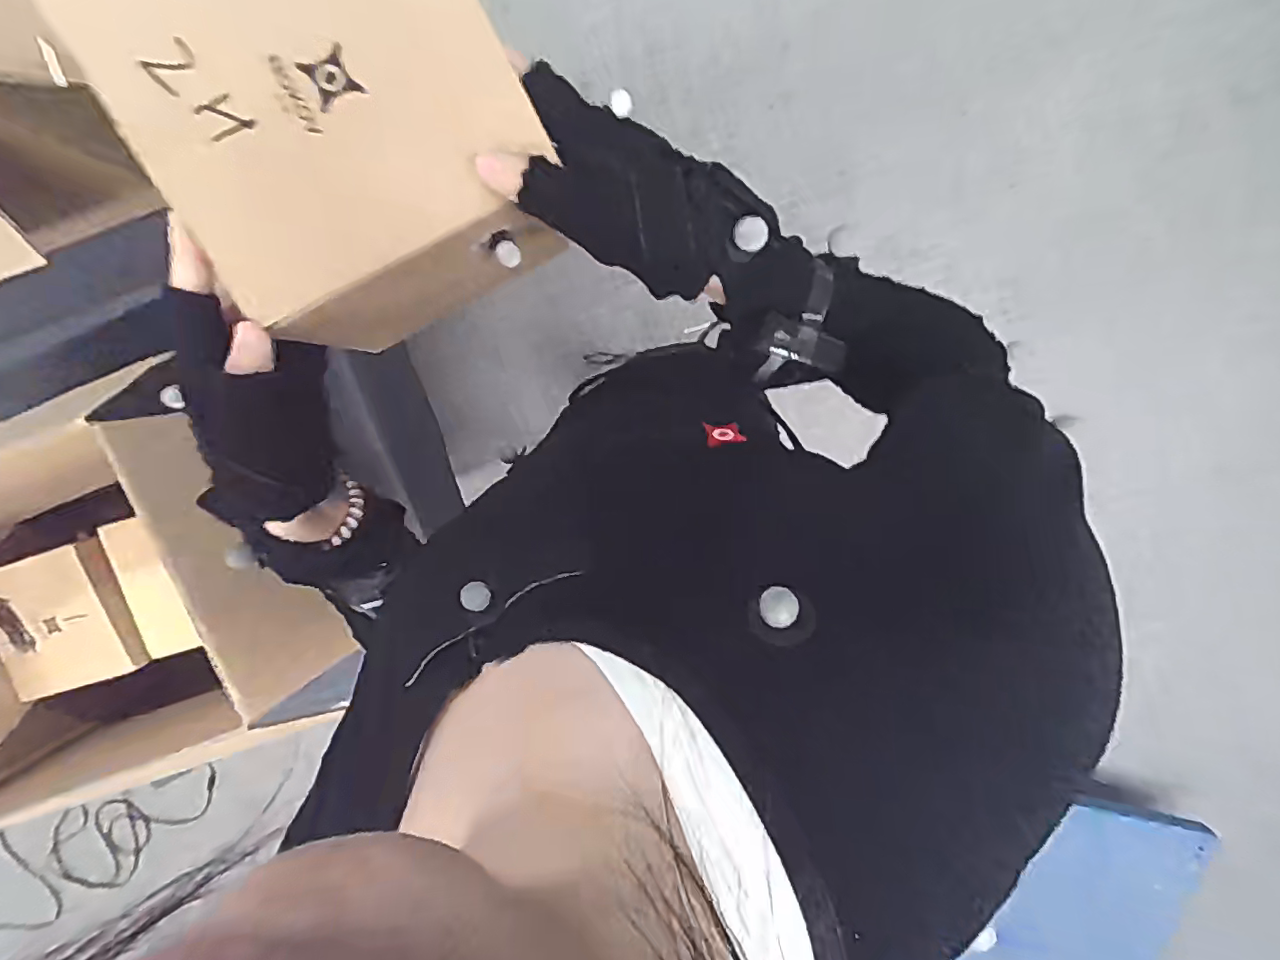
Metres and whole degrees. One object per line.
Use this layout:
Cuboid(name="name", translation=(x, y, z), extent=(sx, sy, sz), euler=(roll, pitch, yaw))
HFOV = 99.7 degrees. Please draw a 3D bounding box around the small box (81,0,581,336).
Cuboid(name="small box", translation=(-0.152, -0.205, 0.337), extent=(0.179, 0.176, 0.168), euler=(-27, 102, -2))
